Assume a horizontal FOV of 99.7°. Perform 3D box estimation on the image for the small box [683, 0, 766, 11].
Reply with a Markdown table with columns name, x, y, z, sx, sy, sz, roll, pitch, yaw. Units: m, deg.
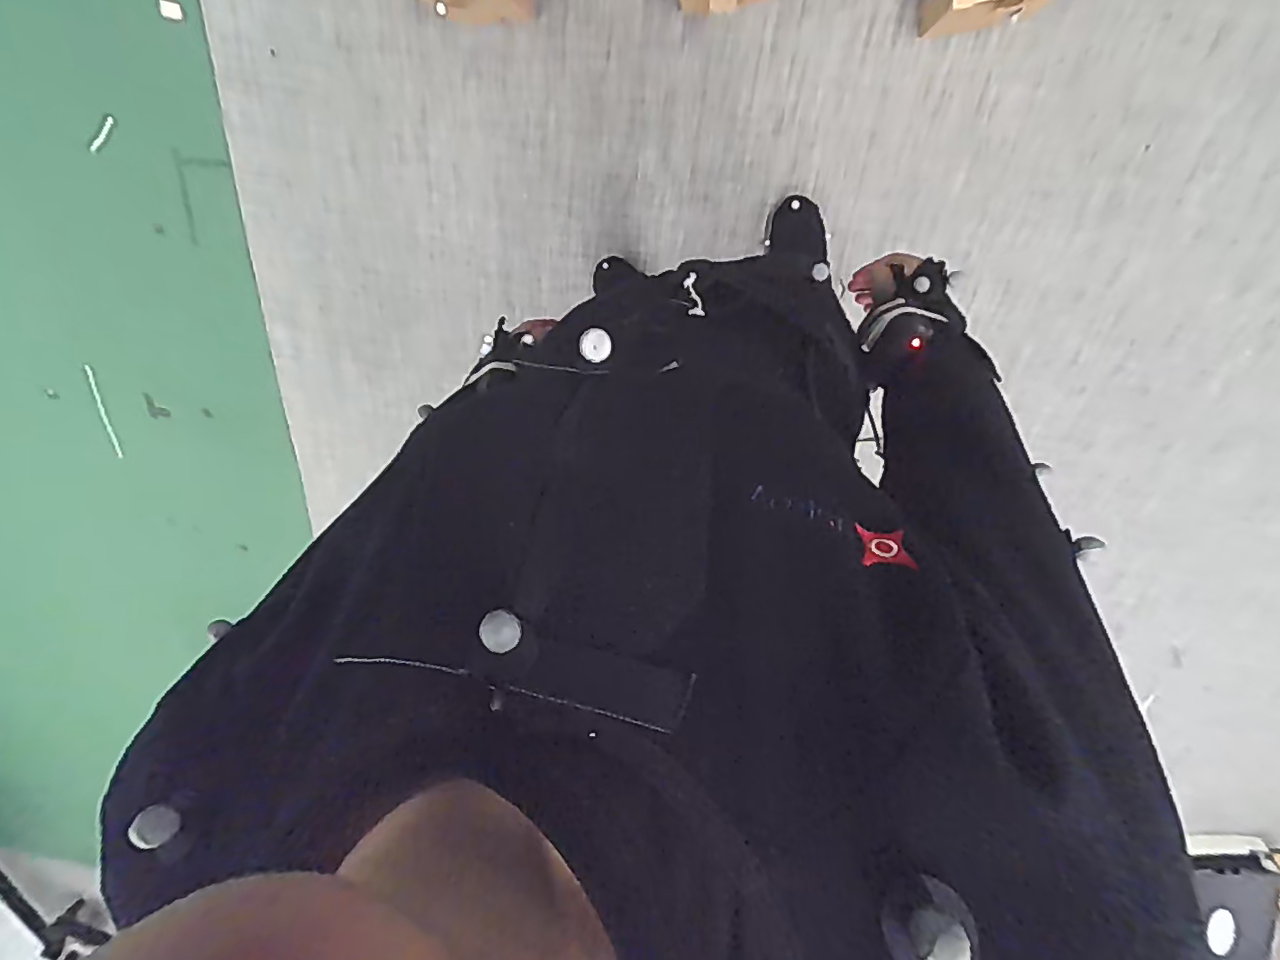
| name | x | y | z | sx | sy | sz | roll | pitch | yaw |
| --- | --- | --- | --- | --- | --- | --- | --- | --- | --- |
| small box | 0.139 | -0.901 | 0.872 | 0.168 | 0.176 | 0.179 | 1 | 117 | 10 |

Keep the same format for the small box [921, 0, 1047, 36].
| name | x | y | z | sx | sy | sz | roll | pitch | yaw |
| --- | --- | --- | --- | --- | --- | --- | --- | --- | --- |
| small box | 0.550 | -0.819 | 0.833 | 0.168 | 0.176 | 0.179 | -2 | 115 | 11 |
